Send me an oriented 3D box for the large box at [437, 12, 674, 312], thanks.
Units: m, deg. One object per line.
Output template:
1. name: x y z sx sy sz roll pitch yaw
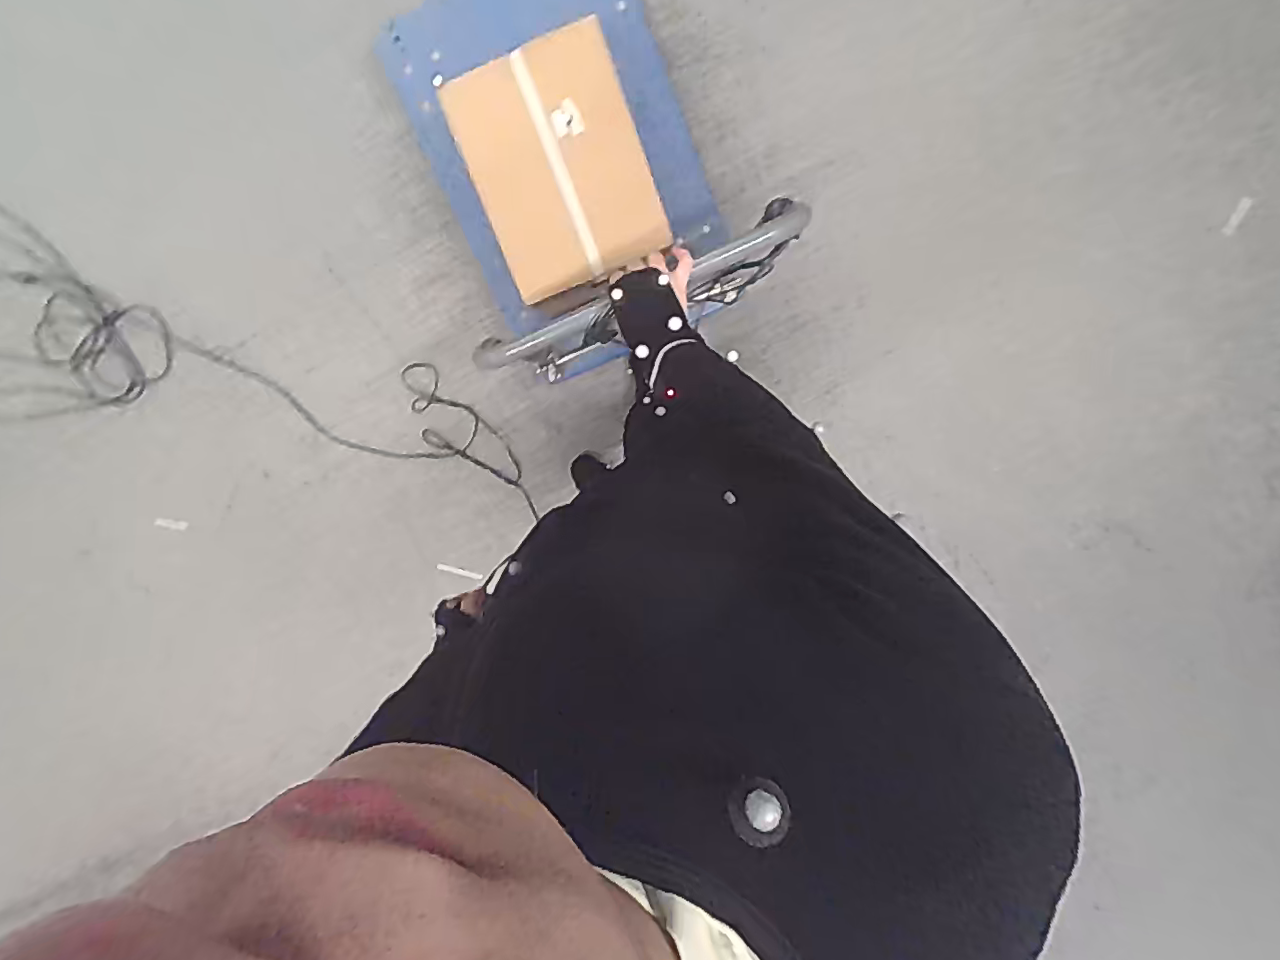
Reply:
1. large box: -0.146 -0.608 1.128 0.320 0.320 0.408 -20 103 4
